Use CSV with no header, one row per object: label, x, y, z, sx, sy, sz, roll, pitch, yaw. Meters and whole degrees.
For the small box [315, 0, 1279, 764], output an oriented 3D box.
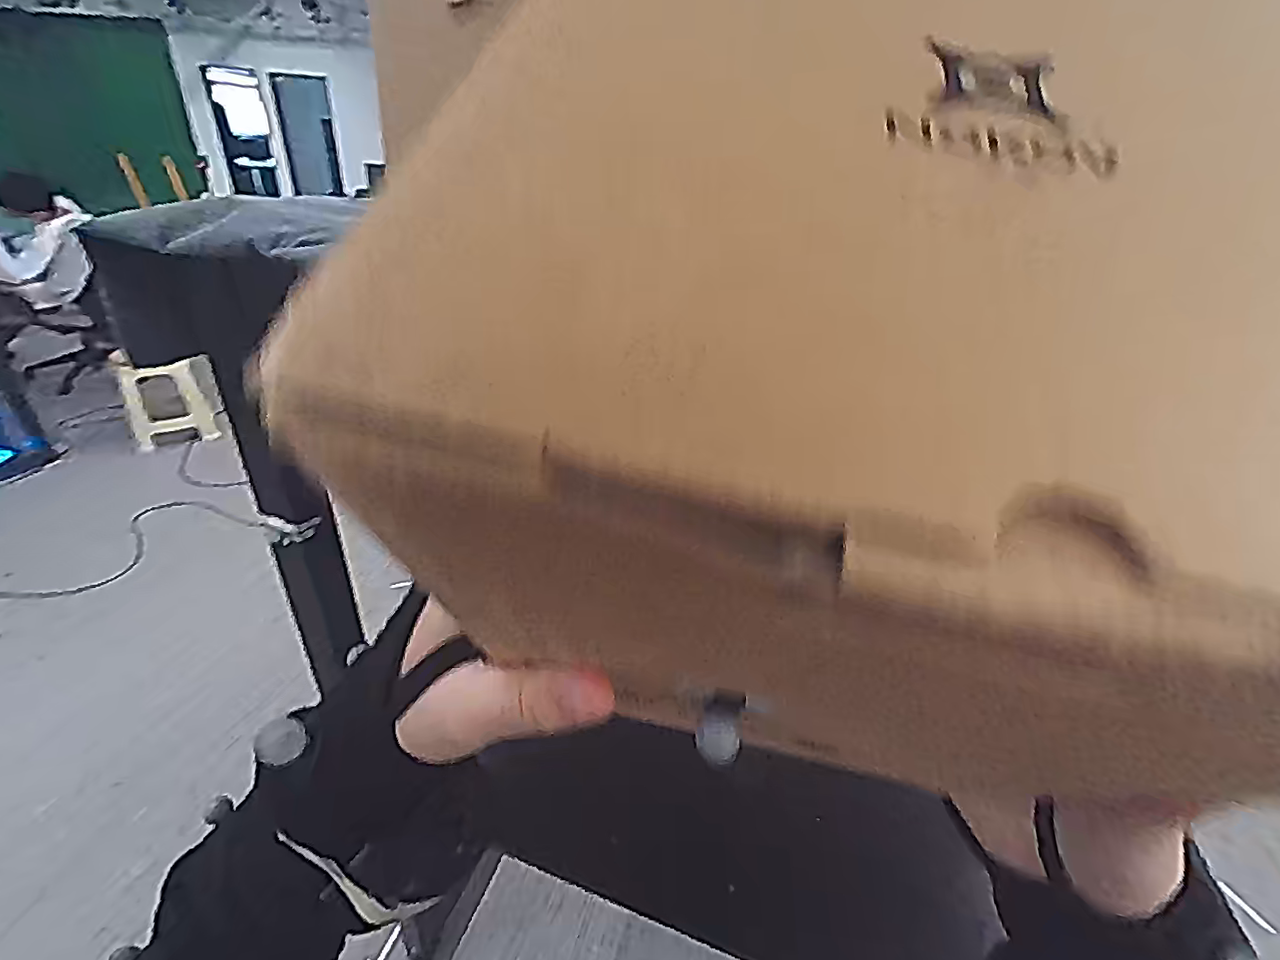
small box,0.056,-0.029,0.162,0.168,0.176,0.179,11,62,3
